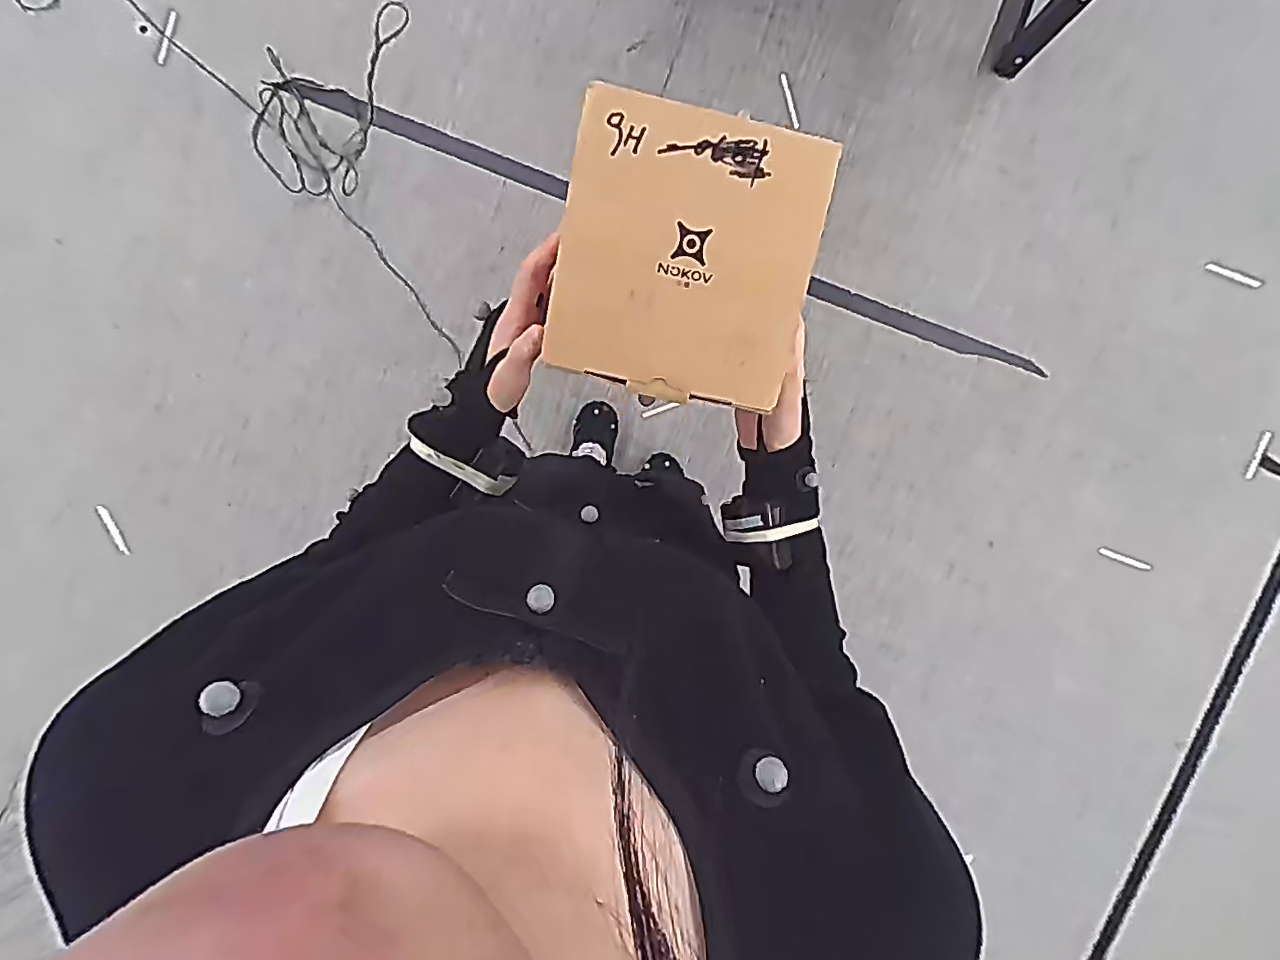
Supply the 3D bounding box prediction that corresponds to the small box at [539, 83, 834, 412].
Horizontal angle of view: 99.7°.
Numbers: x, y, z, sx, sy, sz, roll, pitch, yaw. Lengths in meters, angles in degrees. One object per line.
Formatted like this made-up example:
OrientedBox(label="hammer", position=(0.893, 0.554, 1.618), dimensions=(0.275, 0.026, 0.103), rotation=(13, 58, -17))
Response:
OrientedBox(label="small box", position=(0.026, -0.164, 0.435), dimensions=(0.168, 0.176, 0.179), rotation=(12, 102, -5))
